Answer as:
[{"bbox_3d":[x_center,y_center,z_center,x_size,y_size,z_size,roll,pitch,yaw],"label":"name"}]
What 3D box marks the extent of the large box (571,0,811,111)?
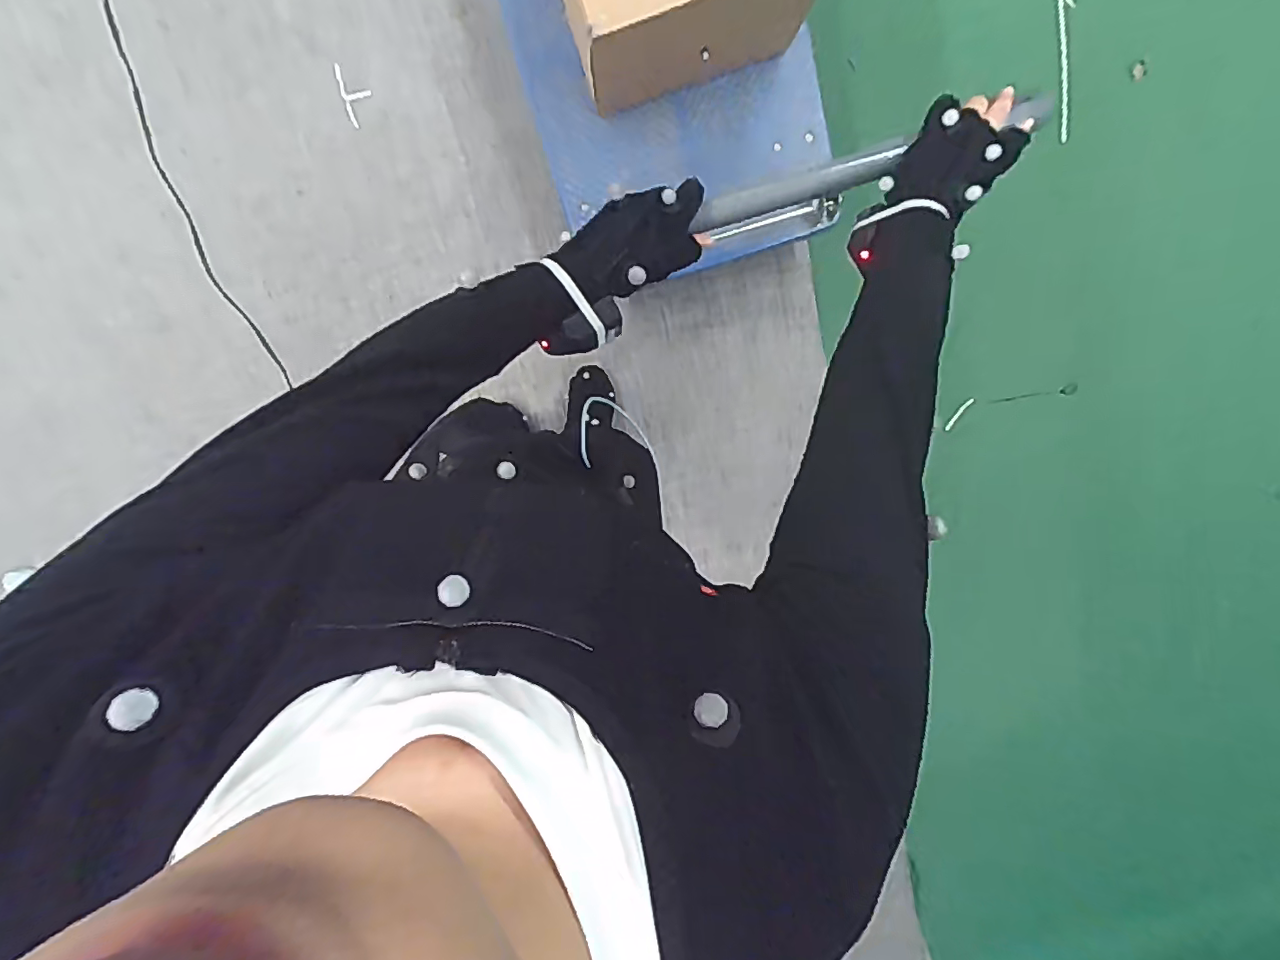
[{"bbox_3d":[0.072,-0.919,0.925,0.408,0.320,0.320,-18,104,4],"label":"large box"}]
